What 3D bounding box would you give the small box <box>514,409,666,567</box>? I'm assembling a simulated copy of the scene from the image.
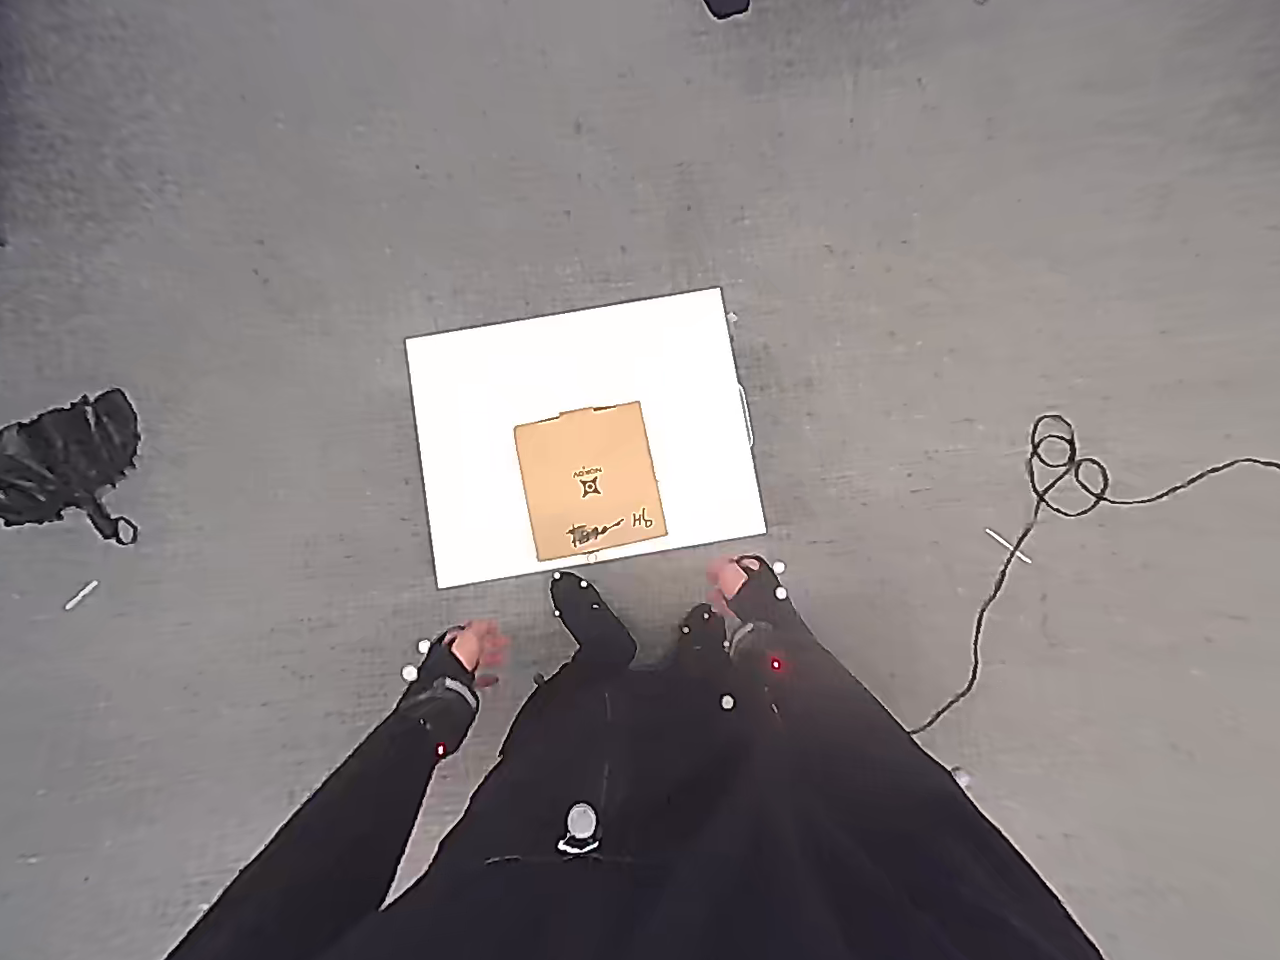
[{"bbox_3d":[-0.065,0.020,0.752,0.168,0.176,0.179,-13,82,-2],"label":"small box"}]
